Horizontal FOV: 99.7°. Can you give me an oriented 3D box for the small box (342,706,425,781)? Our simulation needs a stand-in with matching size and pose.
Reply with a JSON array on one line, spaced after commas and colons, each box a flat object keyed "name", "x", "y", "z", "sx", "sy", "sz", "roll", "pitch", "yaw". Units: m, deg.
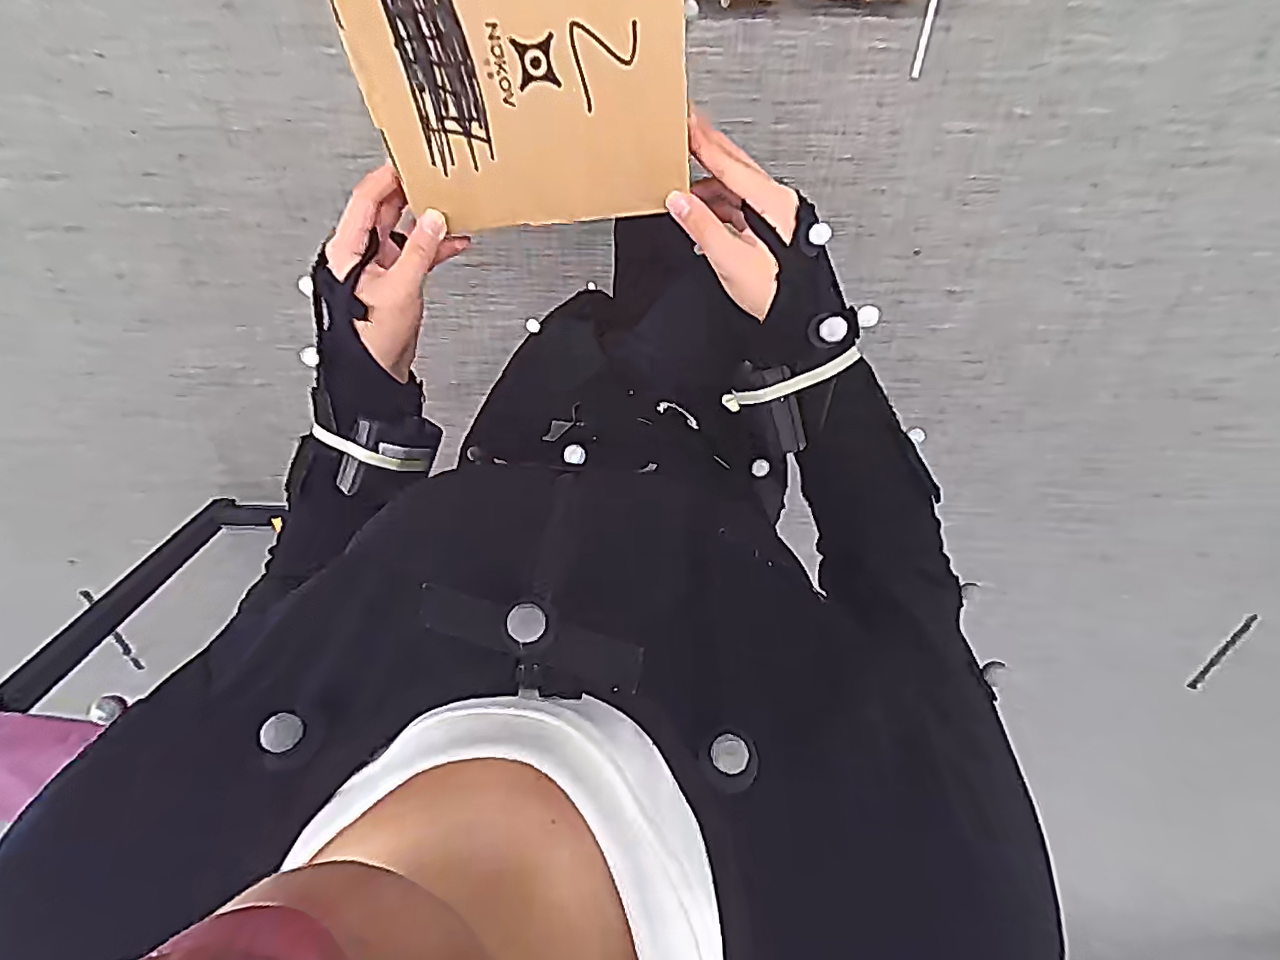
[{"name": "small box", "x": -0.849, "y": 0.877, "z": 1.807, "sx": 0.179, "sy": 0.176, "sz": 0.168, "roll": -2, "pitch": 124, "yaw": 1}]
